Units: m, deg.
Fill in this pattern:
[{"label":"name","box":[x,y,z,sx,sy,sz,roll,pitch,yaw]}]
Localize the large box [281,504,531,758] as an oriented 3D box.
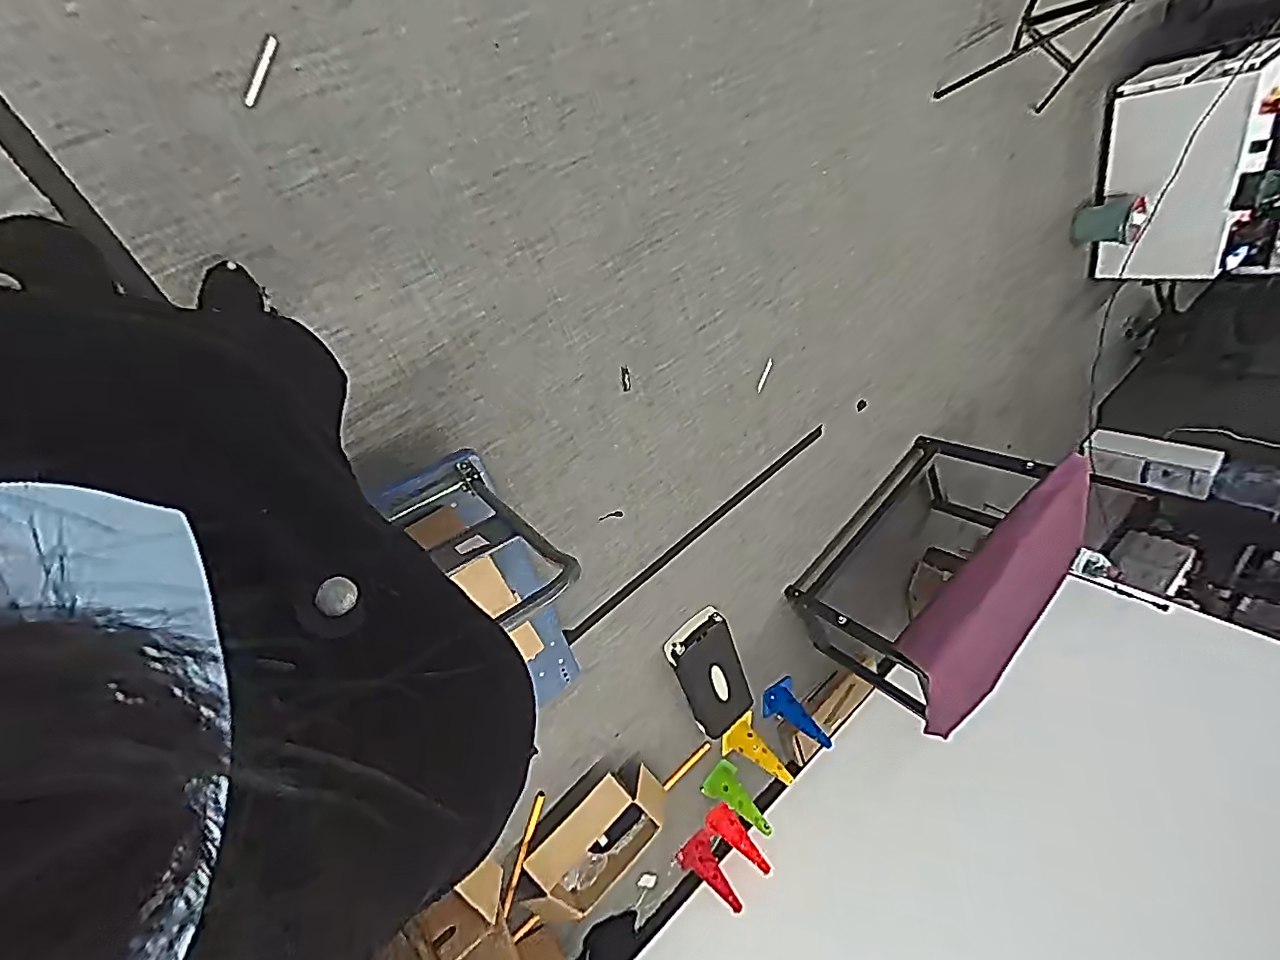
[{"label":"large box","box":[-0.534,0.322,1.249,0.408,0.320,0.320,-33,123,-21]}]
